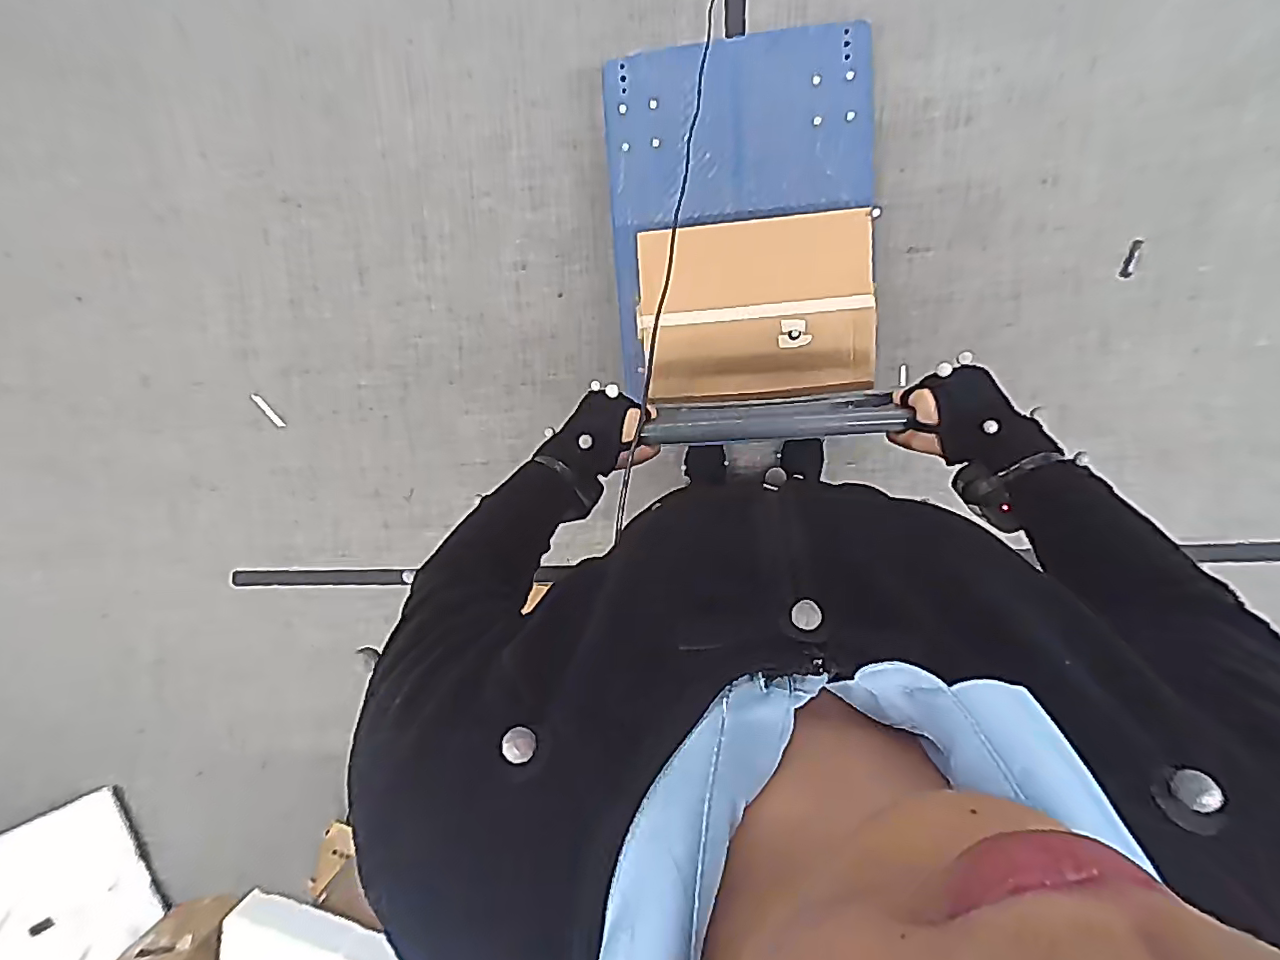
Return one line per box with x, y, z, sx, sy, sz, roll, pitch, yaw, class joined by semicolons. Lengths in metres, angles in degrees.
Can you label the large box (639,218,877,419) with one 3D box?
0.221;-0.293;1.096;0.408;0.320;0.320;-3;97;7;large box
